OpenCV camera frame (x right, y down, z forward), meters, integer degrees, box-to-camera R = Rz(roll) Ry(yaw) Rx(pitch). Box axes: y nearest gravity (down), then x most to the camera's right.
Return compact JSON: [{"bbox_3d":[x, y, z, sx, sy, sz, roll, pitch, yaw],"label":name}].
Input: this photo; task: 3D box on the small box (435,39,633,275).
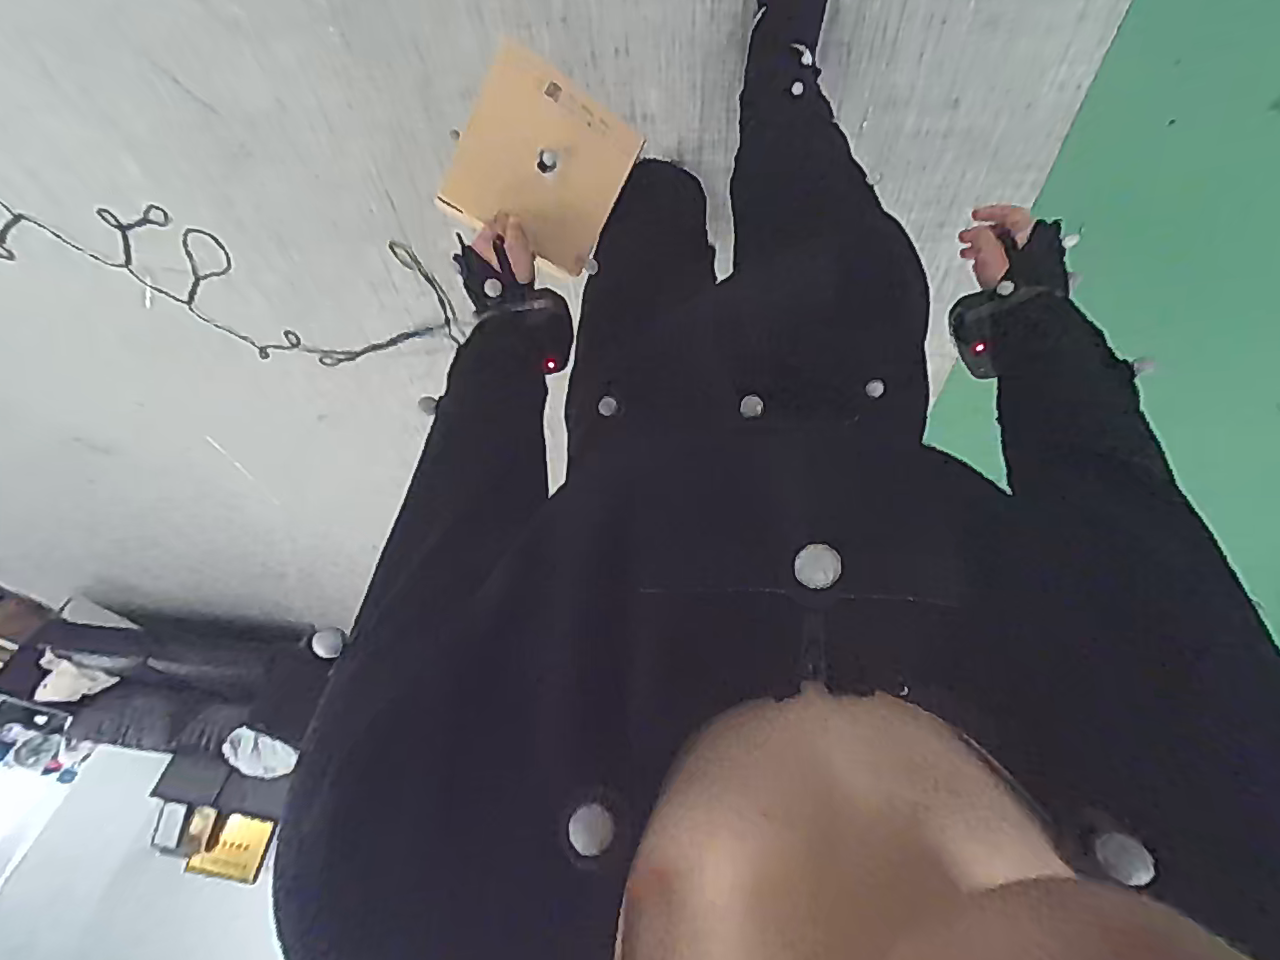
[{"bbox_3d":[-0.129,-0.364,0.637,0.168,0.179,0.176,23,102,-27],"label":"small box"}]
